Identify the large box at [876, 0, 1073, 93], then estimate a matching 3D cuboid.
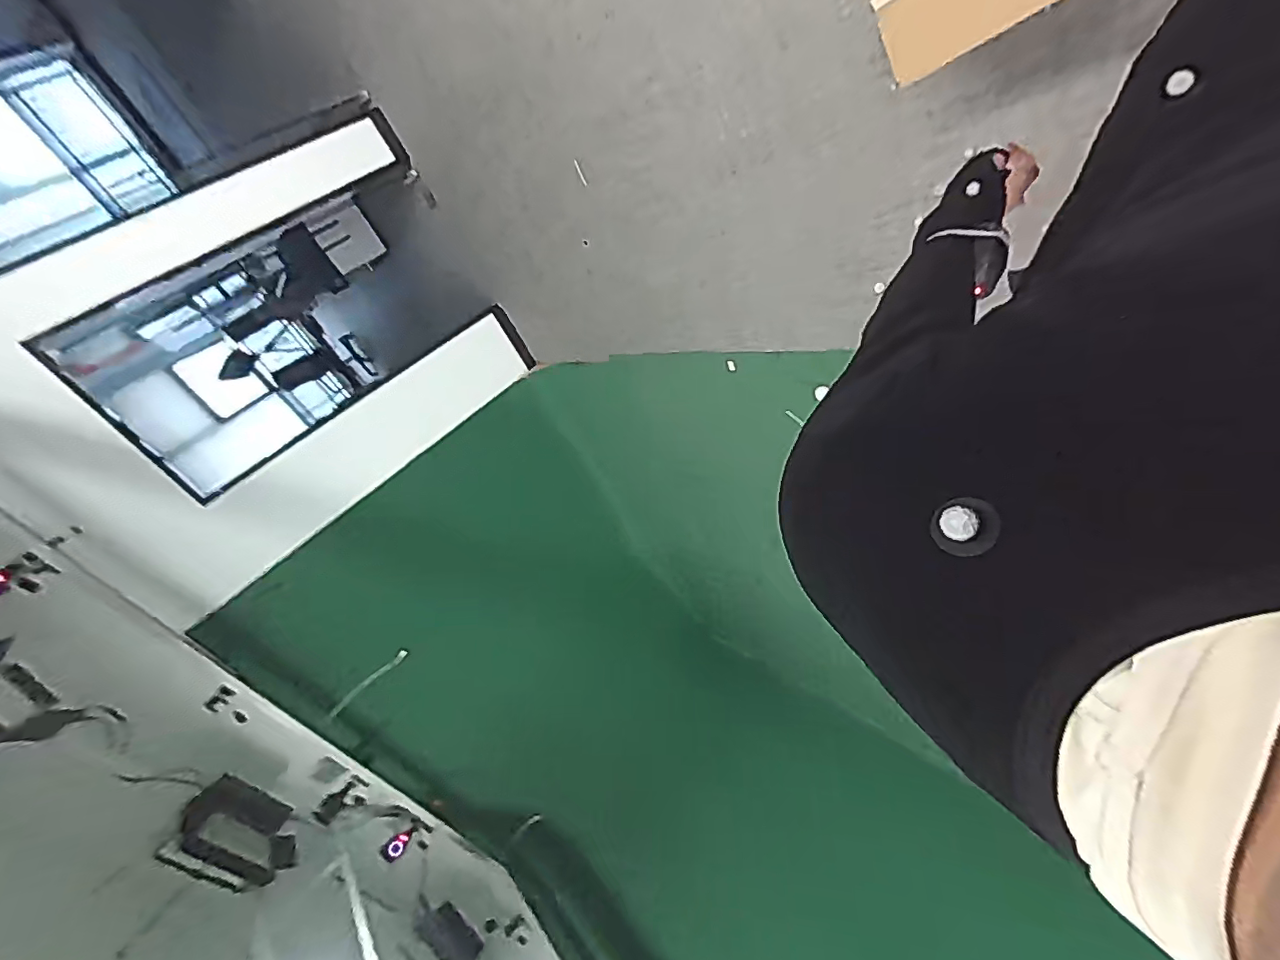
[{"bbox_3d":[0.668,-0.984,0.929,0.408,0.320,0.320,6,133,57],"label":"large box"}]
